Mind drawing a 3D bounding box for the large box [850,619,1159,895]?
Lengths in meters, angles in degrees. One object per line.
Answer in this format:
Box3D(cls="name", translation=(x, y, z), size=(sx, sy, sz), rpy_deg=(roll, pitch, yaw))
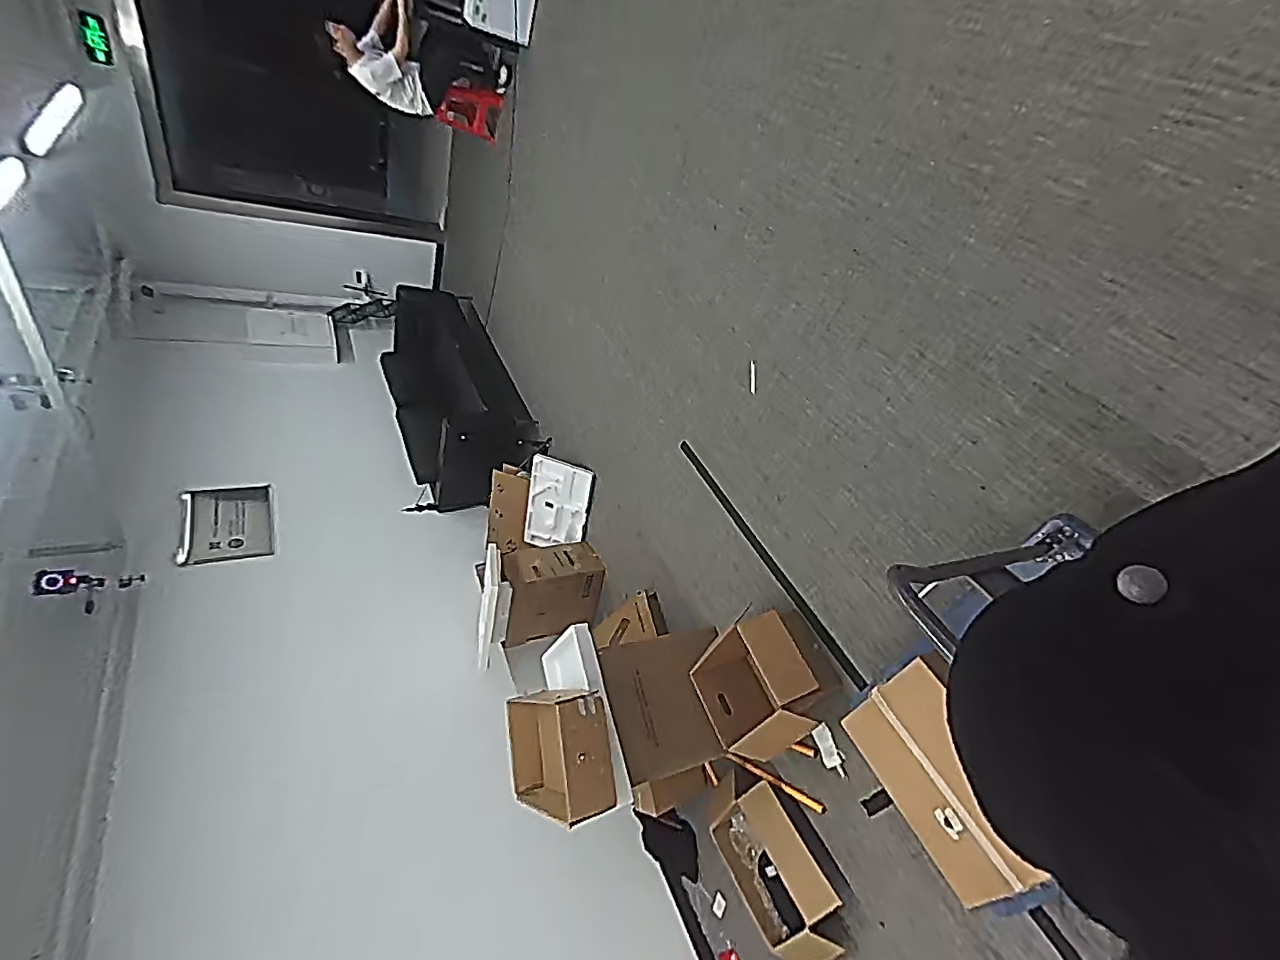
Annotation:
Box3D(cls="large box", translation=(0.770, 0.581, 1.191), size=(0.408, 0.320, 0.320), rpy_deg=(58, 141, 36))
